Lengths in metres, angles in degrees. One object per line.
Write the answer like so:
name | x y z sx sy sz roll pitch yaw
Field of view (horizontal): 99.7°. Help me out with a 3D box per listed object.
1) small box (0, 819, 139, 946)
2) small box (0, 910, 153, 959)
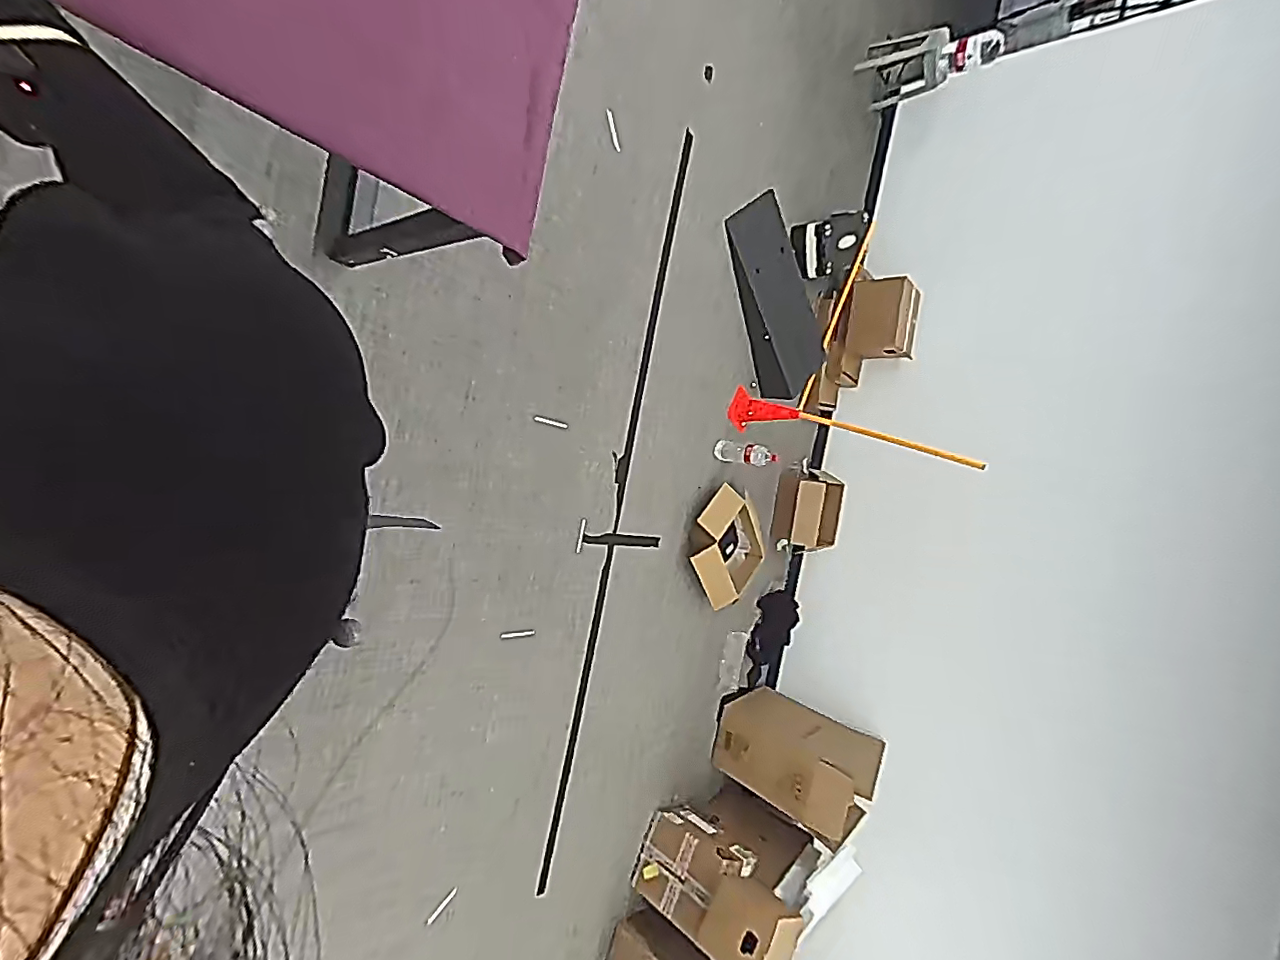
small box | -0.726 0.550 0.634 0.168 0.176 0.179 12 92 -51
small box | -0.604 0.577 0.530 0.168 0.176 0.179 10 93 -50
